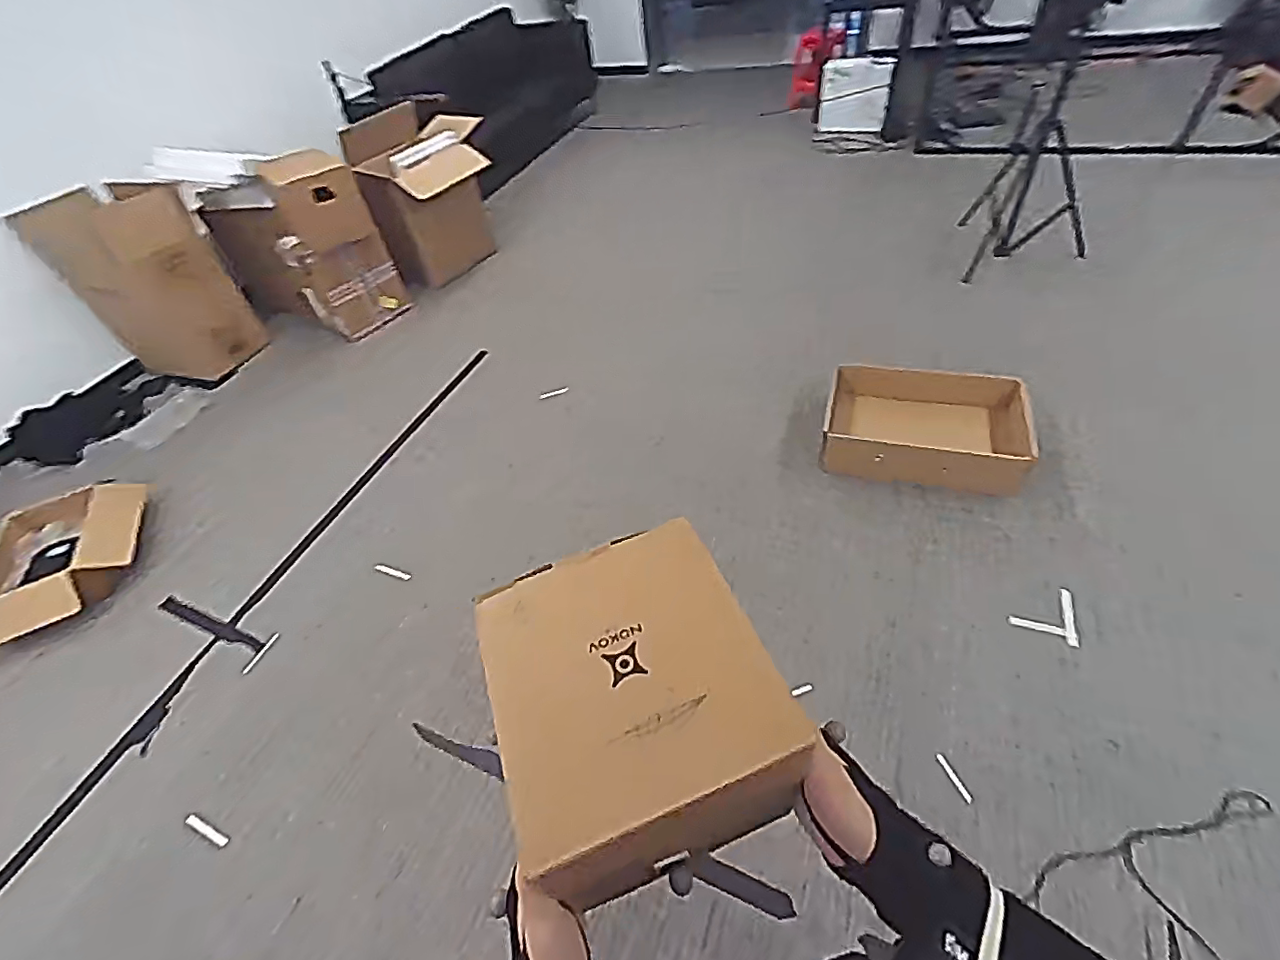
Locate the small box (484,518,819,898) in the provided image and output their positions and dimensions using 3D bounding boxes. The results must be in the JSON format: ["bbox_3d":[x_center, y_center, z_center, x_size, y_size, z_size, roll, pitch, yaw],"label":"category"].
[{"bbox_3d":[0.001,0.164,0.393,0.168,0.176,0.179,-19,48,-9],"label":"small box"}]
